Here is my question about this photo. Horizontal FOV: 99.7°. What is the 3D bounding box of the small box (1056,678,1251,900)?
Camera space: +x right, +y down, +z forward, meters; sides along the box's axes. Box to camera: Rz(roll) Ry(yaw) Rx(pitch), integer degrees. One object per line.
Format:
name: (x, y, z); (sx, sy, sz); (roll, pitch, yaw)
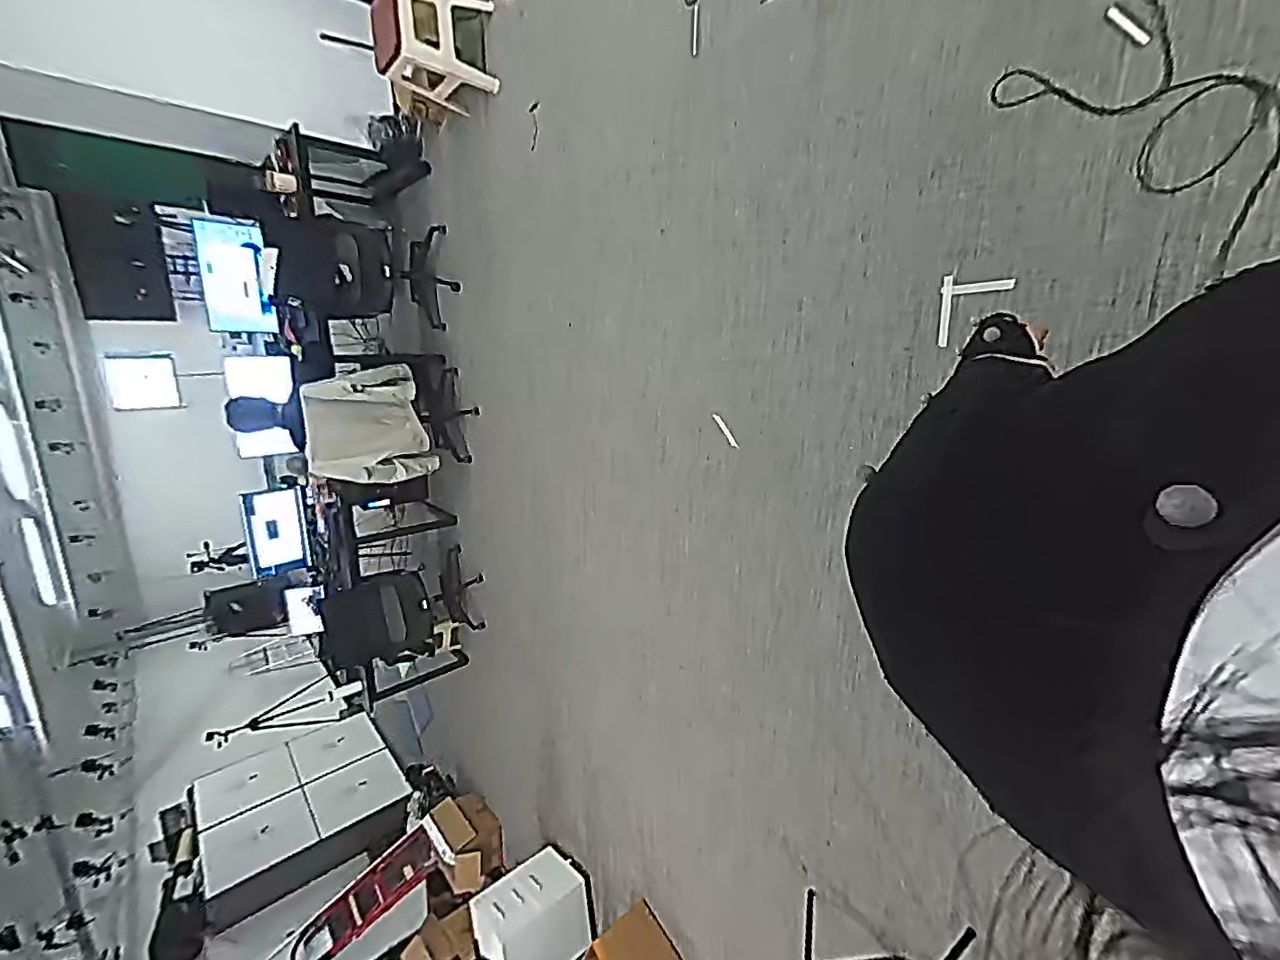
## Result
small box: (0.713, 0.410, 0.754); (0.168, 0.176, 0.179); (12, 105, 46)
